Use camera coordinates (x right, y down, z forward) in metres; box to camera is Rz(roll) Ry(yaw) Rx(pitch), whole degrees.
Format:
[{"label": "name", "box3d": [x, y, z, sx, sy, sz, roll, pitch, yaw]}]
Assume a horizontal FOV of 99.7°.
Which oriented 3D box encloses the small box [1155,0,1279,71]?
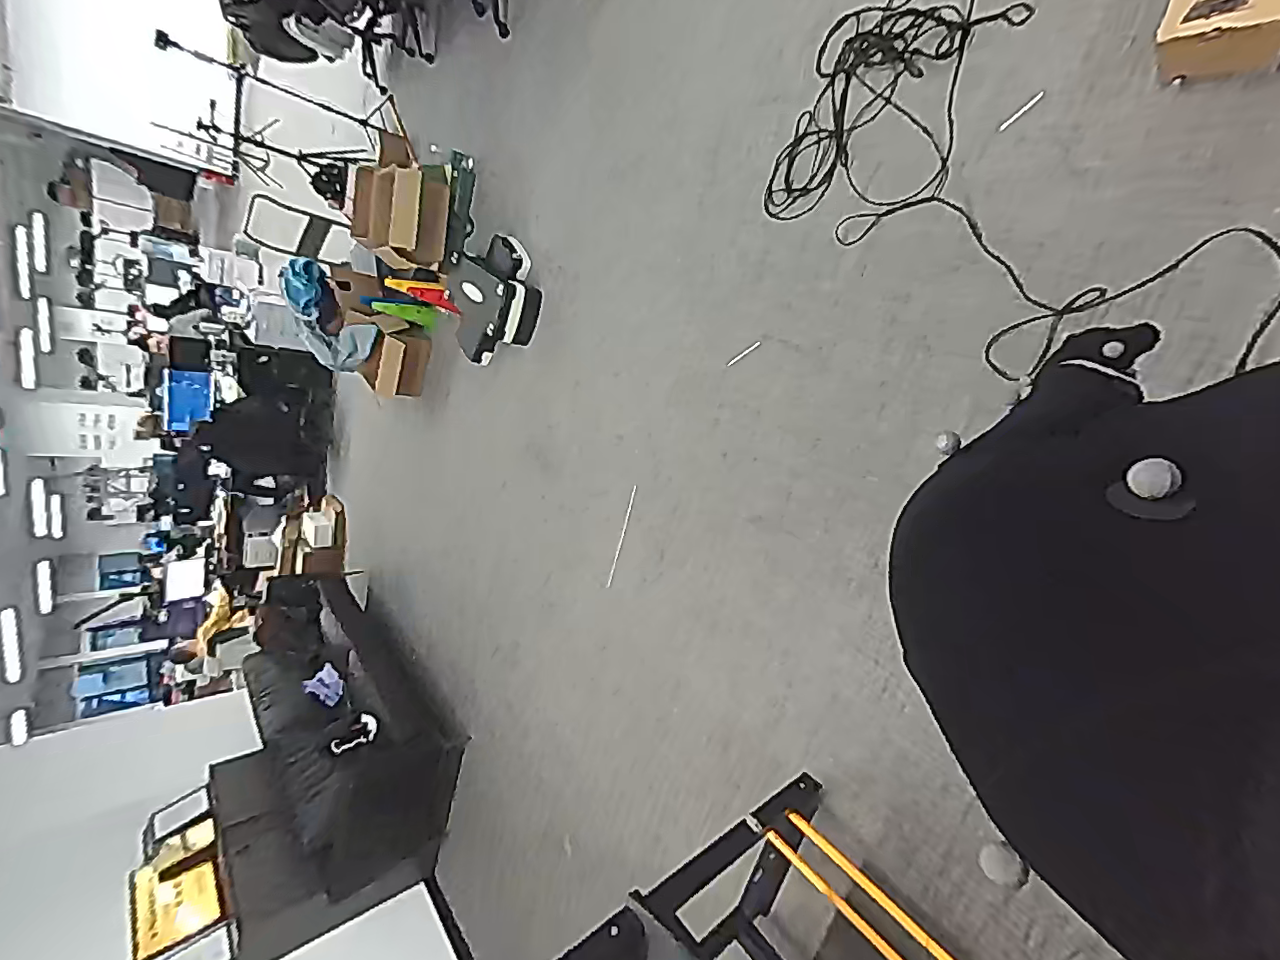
[{"label": "small box", "box3d": [1.053, -0.854, 0.946, 0.168, 0.176, 0.179, 27, 110, 42]}]
